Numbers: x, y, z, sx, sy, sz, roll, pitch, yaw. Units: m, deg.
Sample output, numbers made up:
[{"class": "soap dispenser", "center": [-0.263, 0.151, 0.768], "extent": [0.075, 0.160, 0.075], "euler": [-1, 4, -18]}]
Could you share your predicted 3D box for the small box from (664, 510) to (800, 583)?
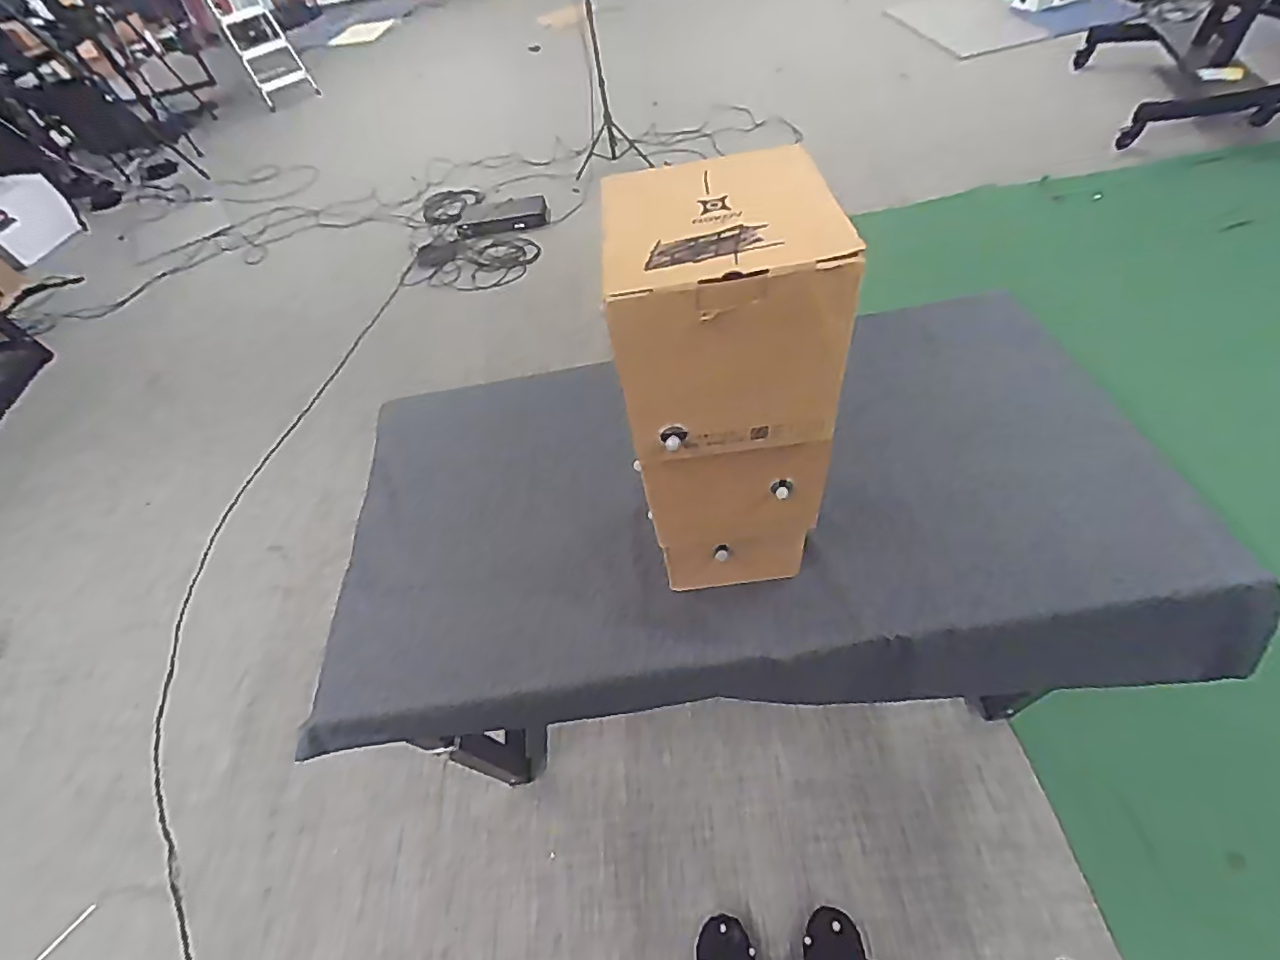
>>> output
[{"class": "small box", "center": [0.112, 0.024, 0.739], "extent": [0.179, 0.176, 0.168], "euler": [-10, 52, 2]}]

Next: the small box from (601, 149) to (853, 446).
[{"class": "small box", "center": [0.064, -0.143, 0.458], "extent": [0.168, 0.176, 0.179], "euler": [-7, 51, 4]}]

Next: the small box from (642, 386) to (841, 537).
[{"class": "small box", "center": [0.089, -0.059, 0.577], "extent": [0.179, 0.176, 0.168], "euler": [-11, 53, 2]}]
